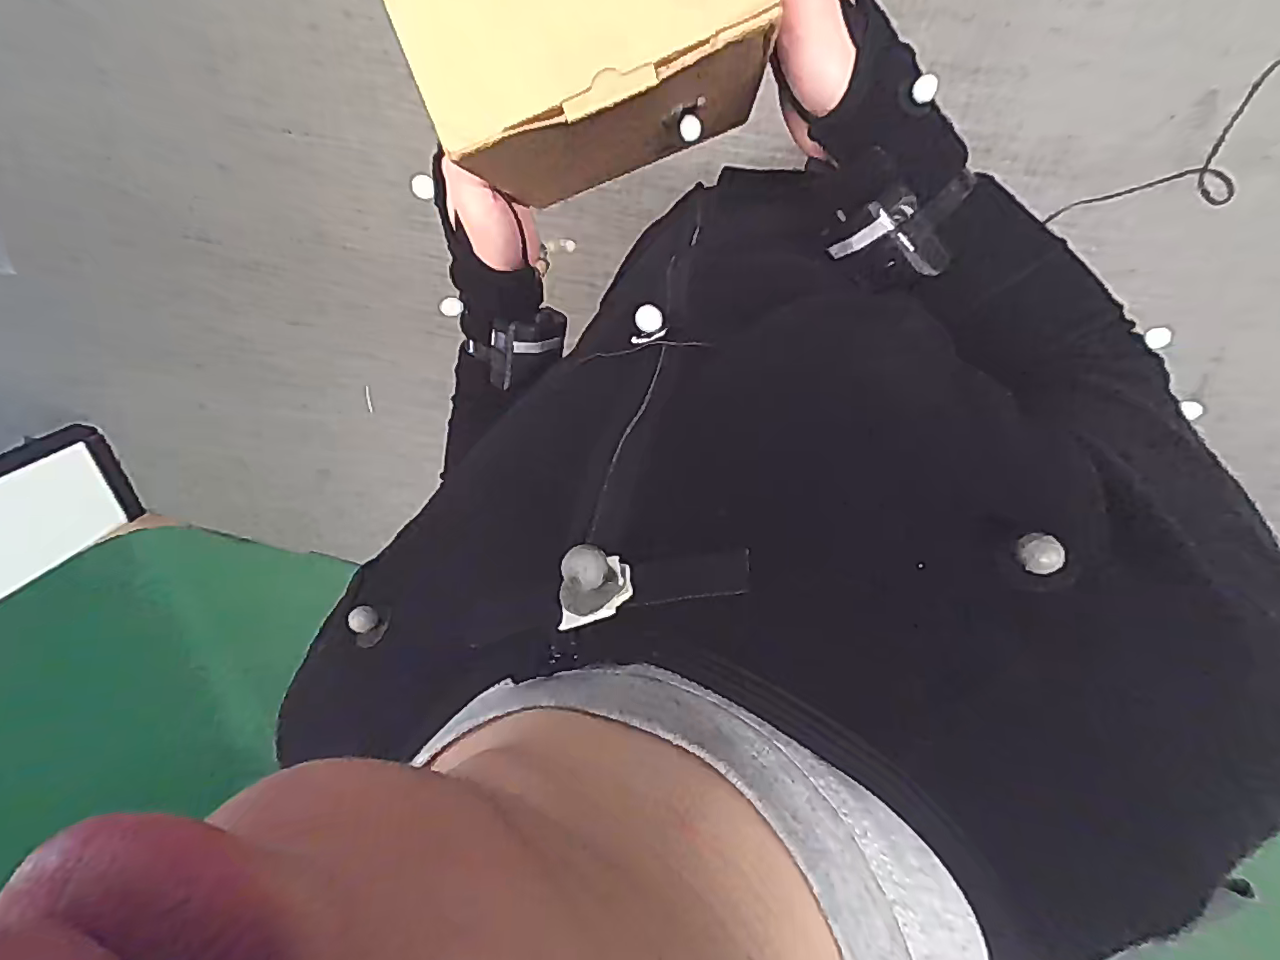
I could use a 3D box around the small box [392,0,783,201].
[{"bbox_3d":[-0.032,-0.276,0.301,0.168,0.176,0.179,-17,105,10],"label":"small box"}]
